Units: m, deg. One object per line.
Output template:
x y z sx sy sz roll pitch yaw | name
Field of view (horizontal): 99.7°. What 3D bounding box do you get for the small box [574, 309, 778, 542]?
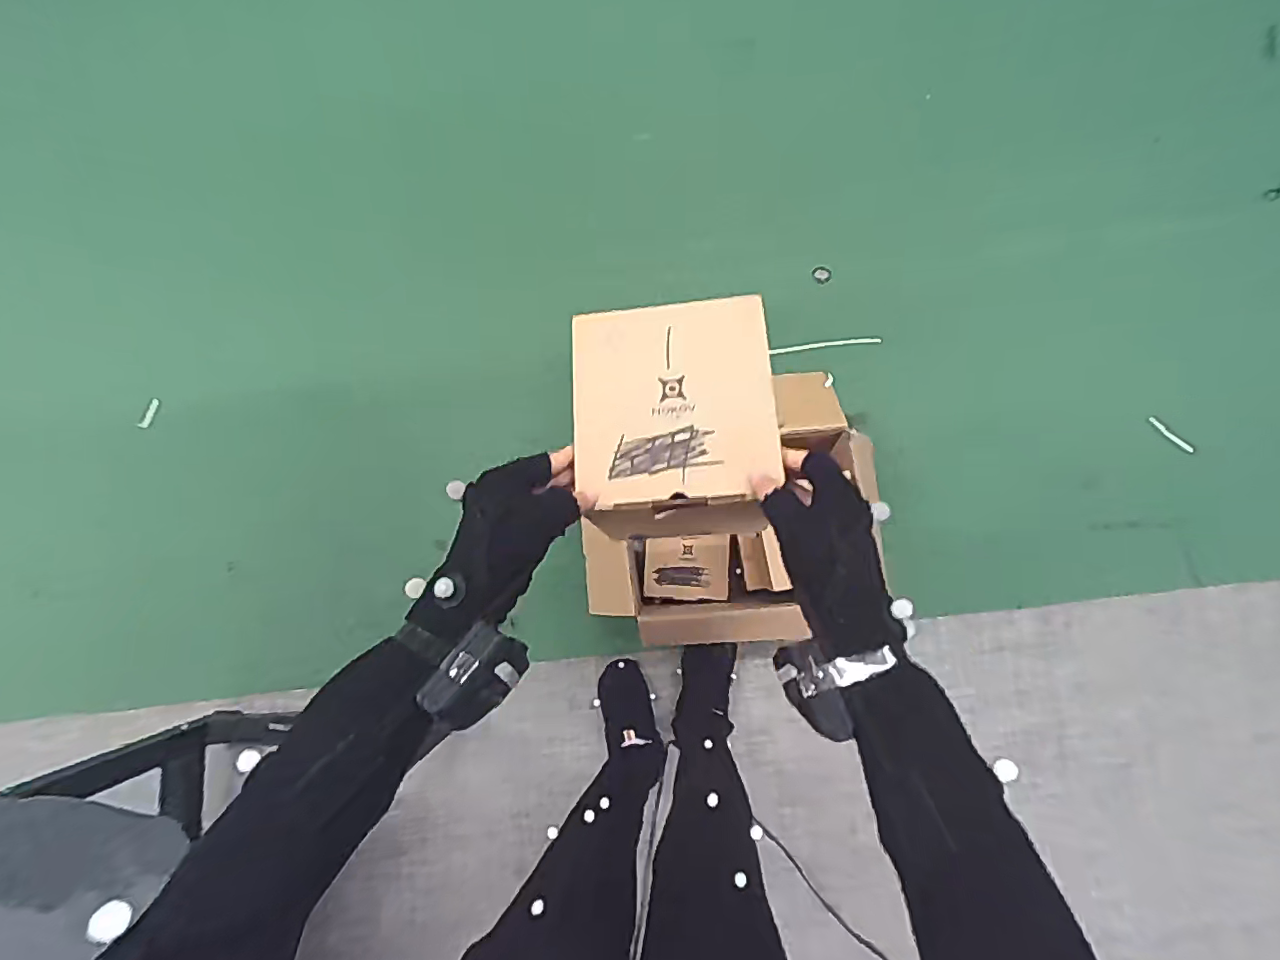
0.036 -0.037 0.527 0.168 0.176 0.179 -5 73 6 | small box
